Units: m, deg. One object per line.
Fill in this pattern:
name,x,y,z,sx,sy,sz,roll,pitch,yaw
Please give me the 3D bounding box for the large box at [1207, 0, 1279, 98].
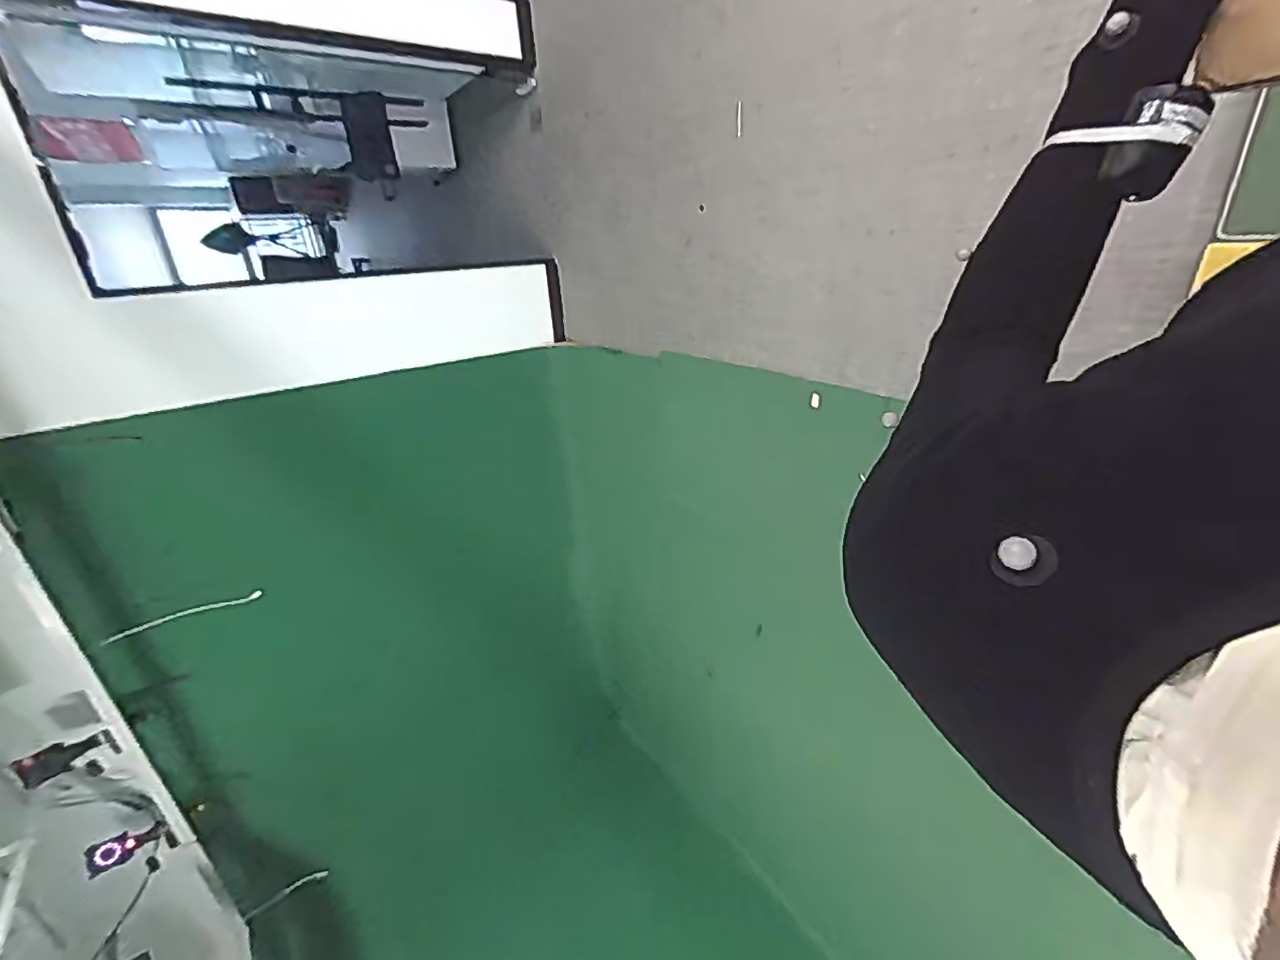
large box,0.624,-0.447,0.283,0.408,0.320,0.320,15,125,46
